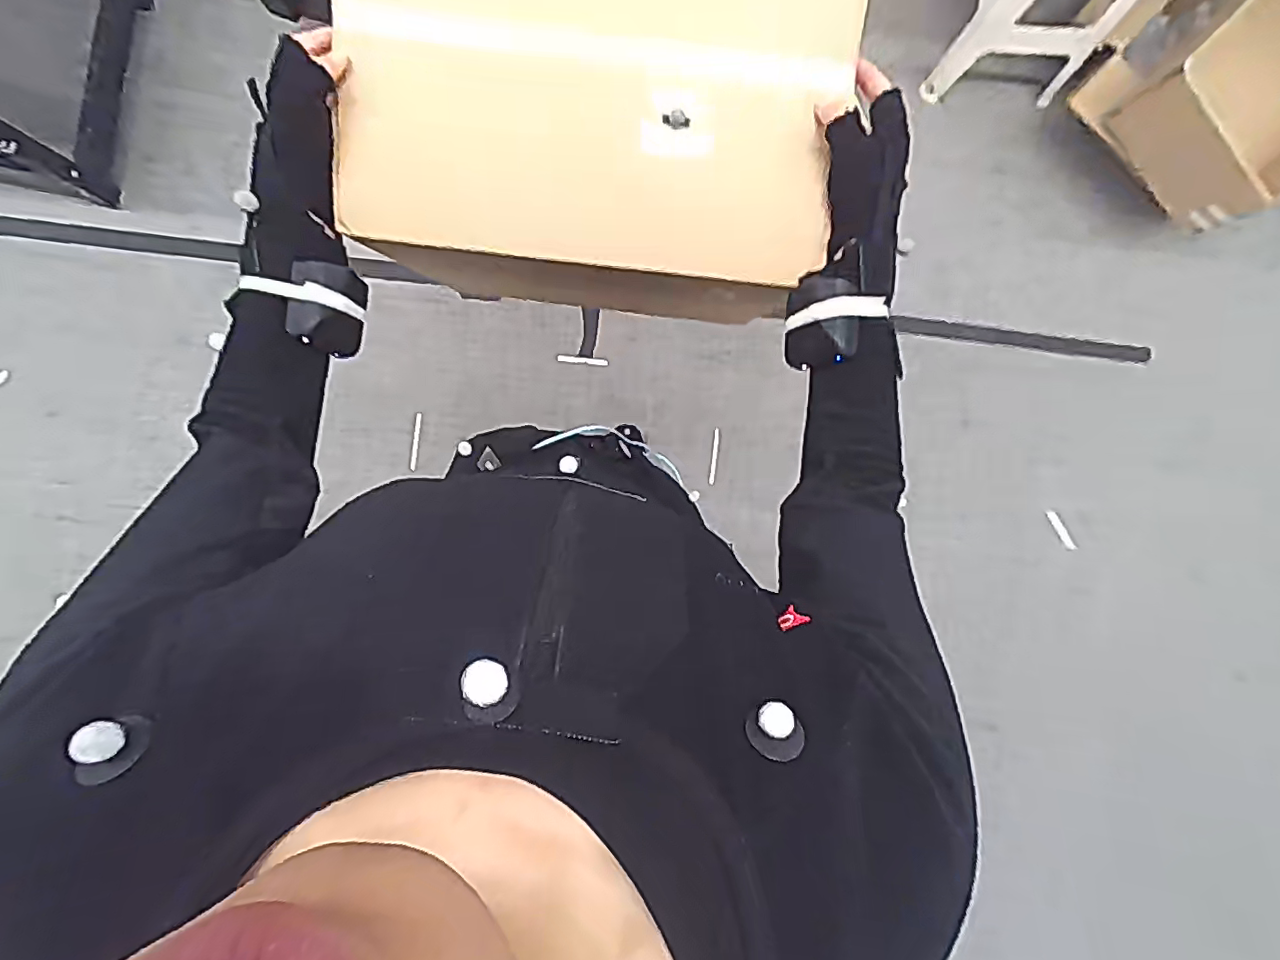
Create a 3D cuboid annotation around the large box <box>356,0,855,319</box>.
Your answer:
[{"bbox_3d":[-0.035,-0.366,0.586,0.408,0.320,0.320,6,101,-3],"label":"large box"}]
